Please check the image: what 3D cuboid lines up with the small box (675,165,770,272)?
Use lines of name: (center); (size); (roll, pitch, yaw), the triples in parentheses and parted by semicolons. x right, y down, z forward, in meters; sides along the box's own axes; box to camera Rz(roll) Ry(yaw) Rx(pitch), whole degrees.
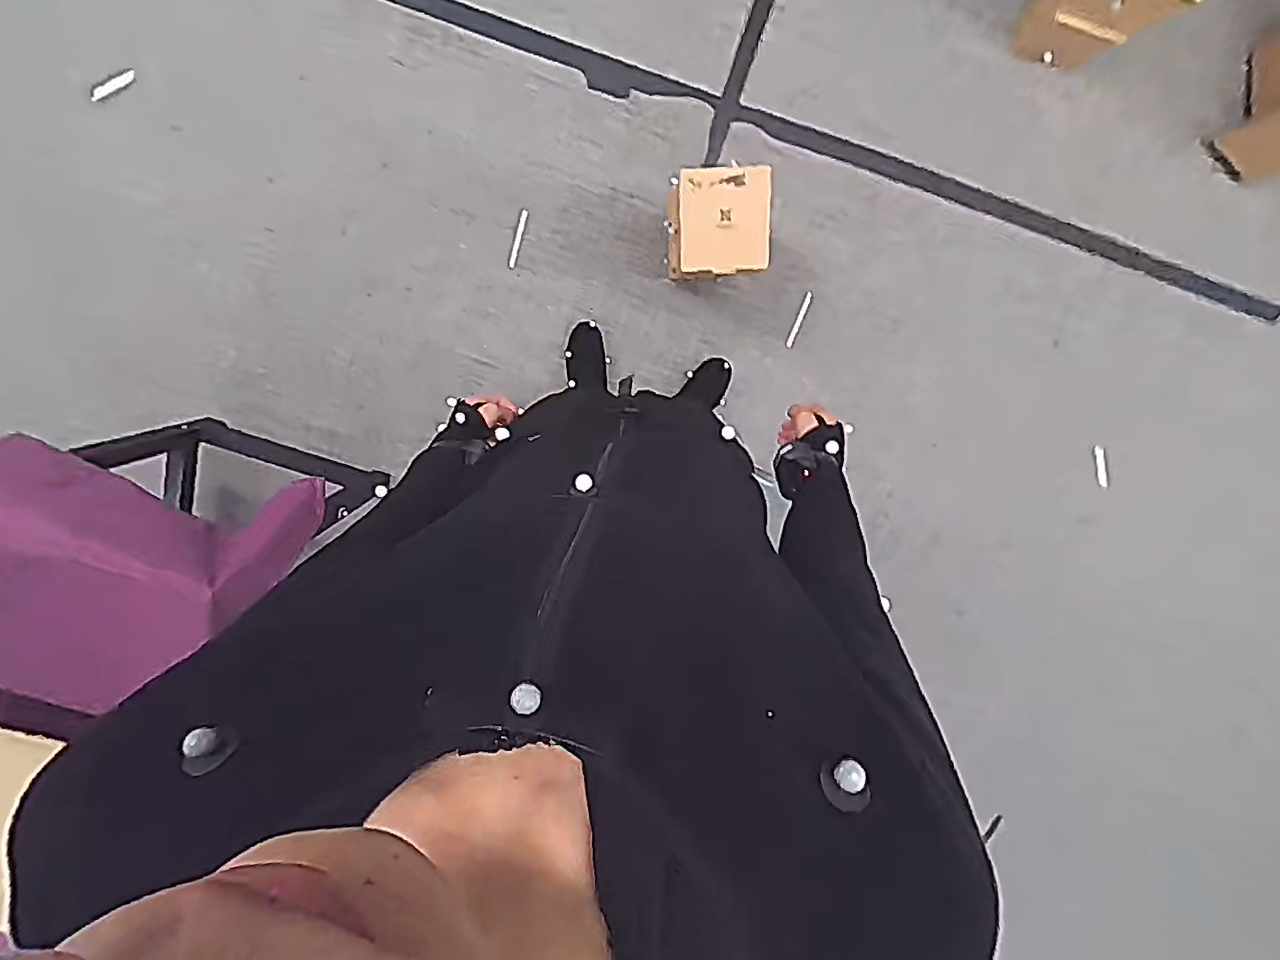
small box: (0.155, -0.506, 1.069); (0.168, 0.176, 0.179); (-1, 109, 2)
